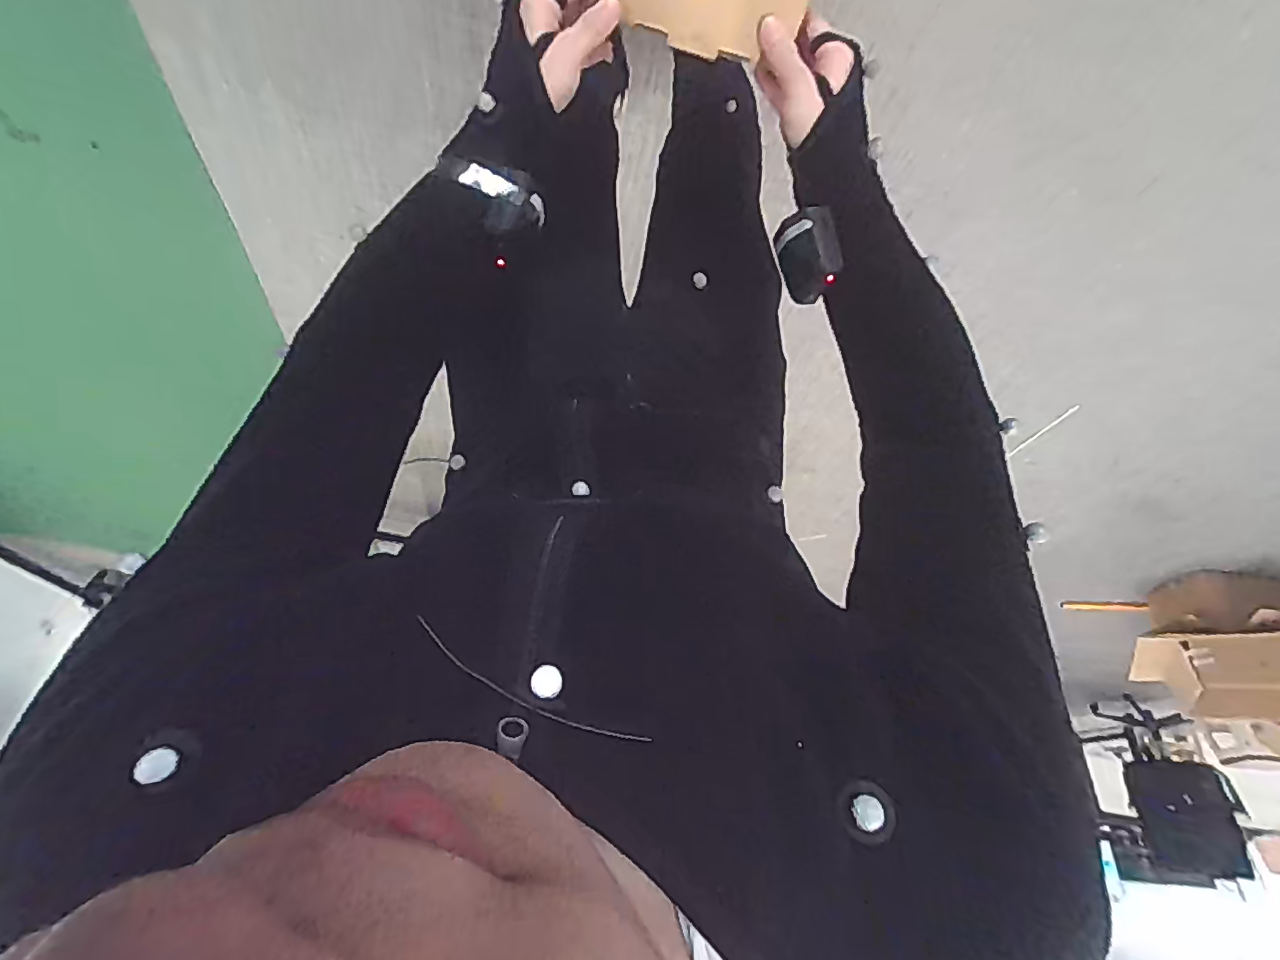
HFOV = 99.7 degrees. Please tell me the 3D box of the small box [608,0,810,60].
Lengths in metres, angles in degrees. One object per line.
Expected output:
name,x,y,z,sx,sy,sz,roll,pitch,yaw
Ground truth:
small box,0.075,-0.496,0.440,0.168,0.176,0.179,9,144,-9
